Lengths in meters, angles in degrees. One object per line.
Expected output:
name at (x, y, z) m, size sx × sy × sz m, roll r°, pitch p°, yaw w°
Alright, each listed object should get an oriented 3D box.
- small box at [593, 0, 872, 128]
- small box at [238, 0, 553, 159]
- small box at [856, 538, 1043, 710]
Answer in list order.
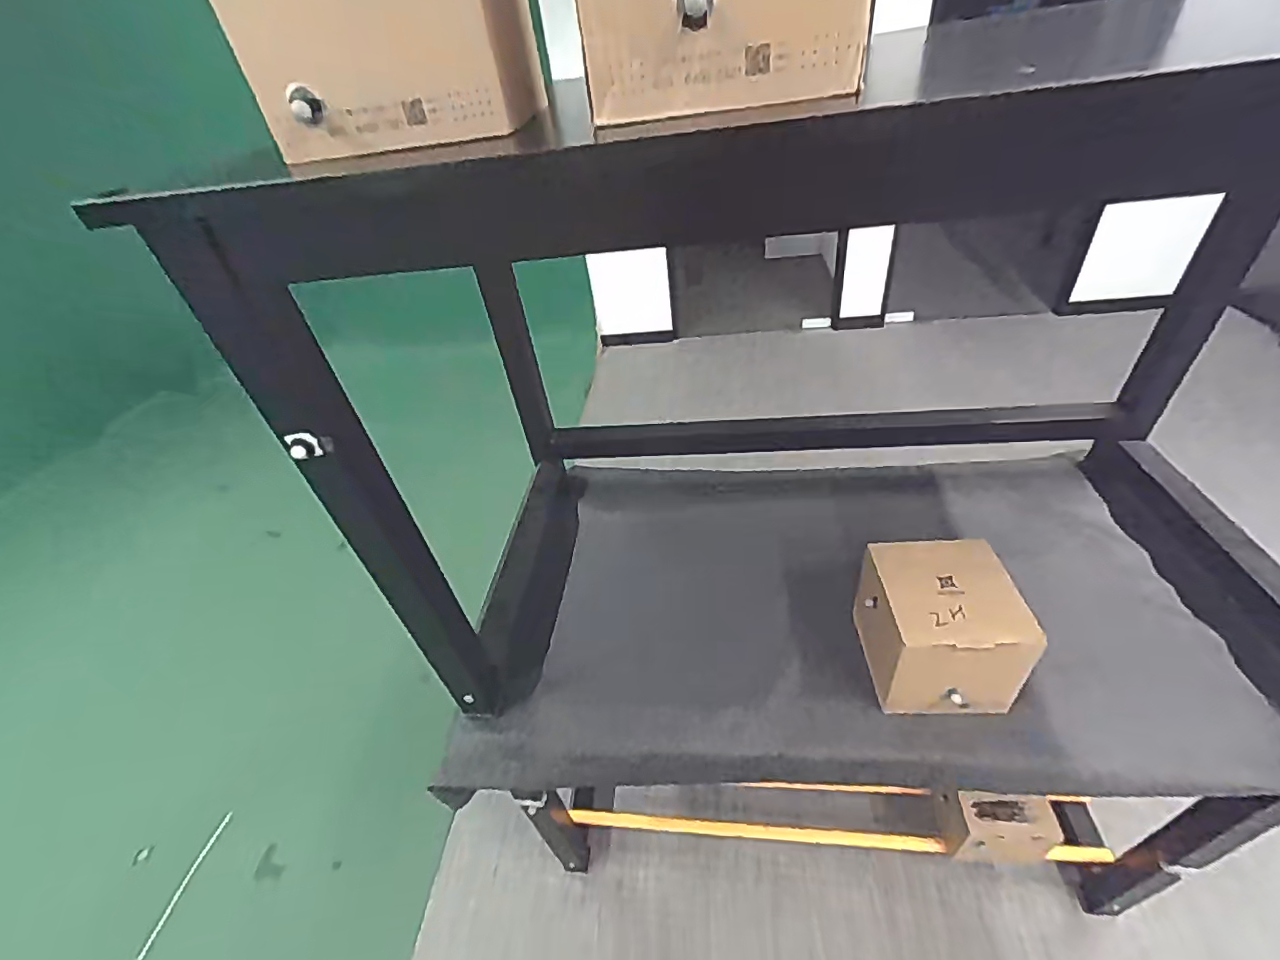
small box at (0.057, -0.348, 0.361) m, size 0.168 × 0.176 × 0.179 m, roll -2°, pitch 40°, yaw 8°
small box at (-0.168, -0.347, 0.399) m, size 0.168 × 0.176 × 0.179 m, roll -4°, pitch 39°, yaw 4°
small box at (0.421, 0.204, 0.775) m, size 0.168 × 0.176 × 0.179 m, roll -4°, pitch 39°, yaw 7°
